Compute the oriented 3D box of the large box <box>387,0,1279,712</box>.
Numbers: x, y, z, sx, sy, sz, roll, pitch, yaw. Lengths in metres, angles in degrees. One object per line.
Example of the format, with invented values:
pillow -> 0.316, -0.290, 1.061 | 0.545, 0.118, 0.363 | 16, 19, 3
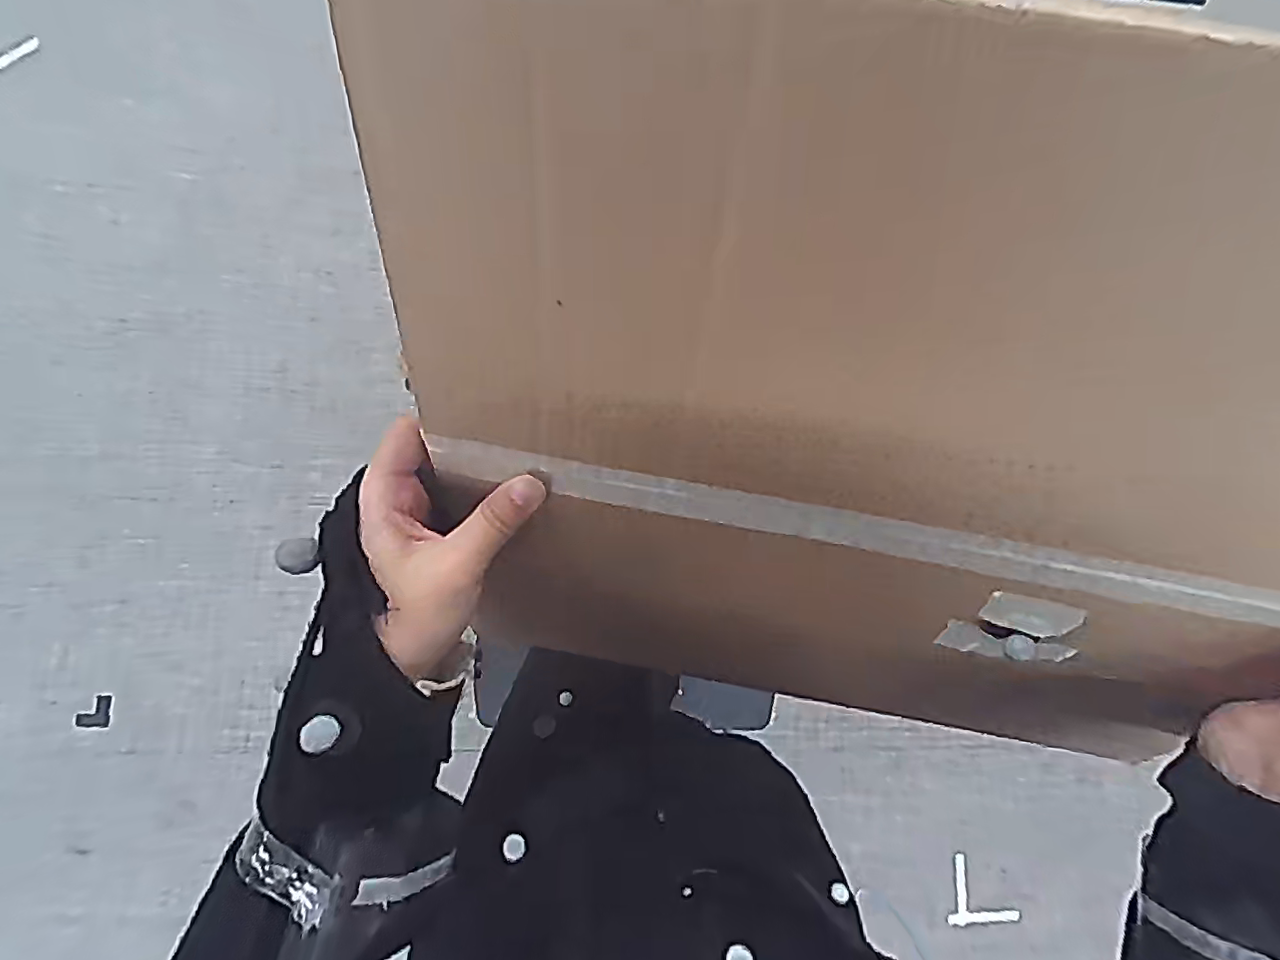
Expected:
large box -> 0.138, -0.109, 0.320 | 0.408, 0.320, 0.320 | 9, 44, 2
